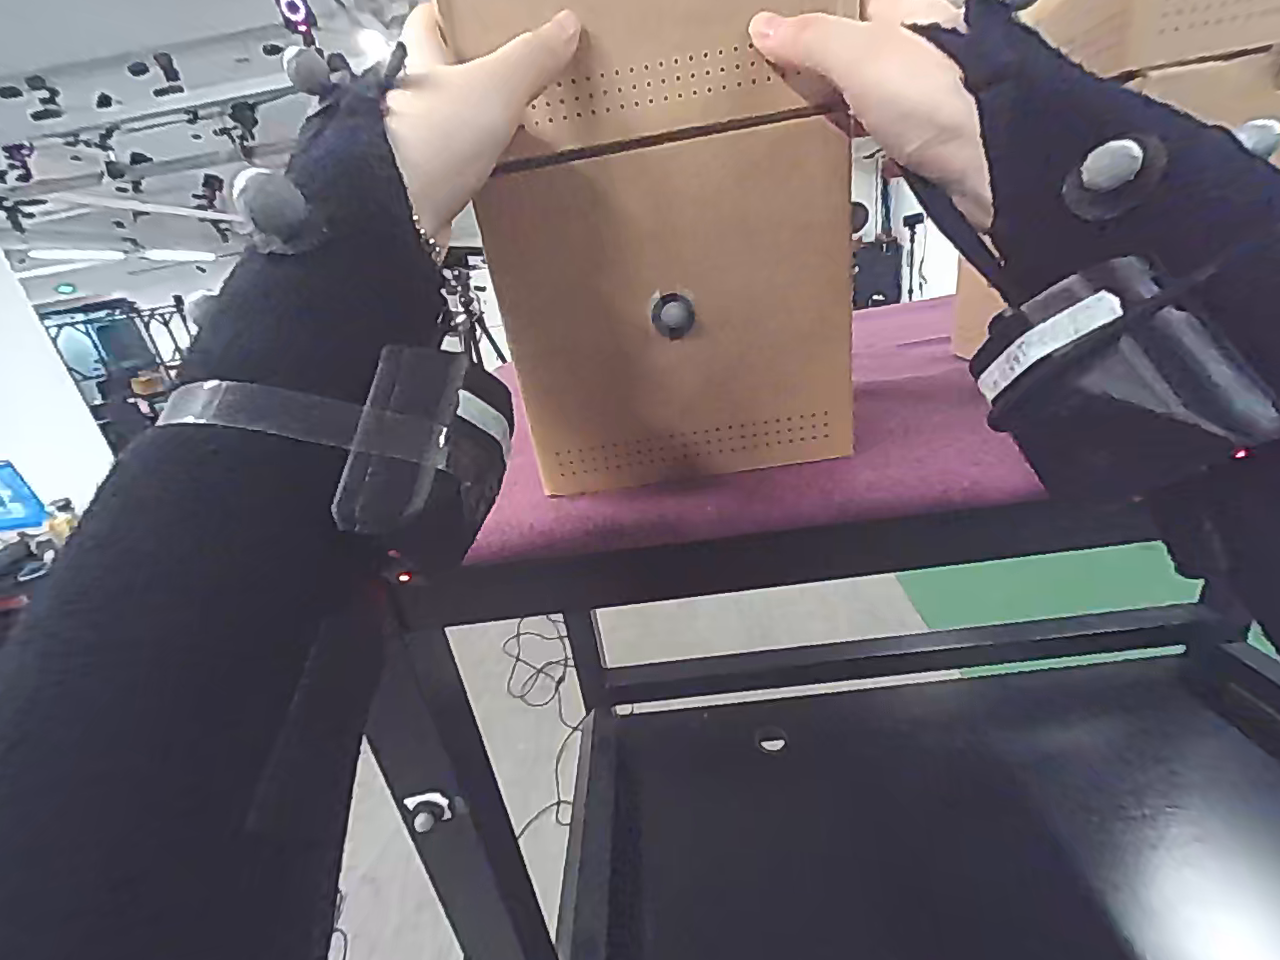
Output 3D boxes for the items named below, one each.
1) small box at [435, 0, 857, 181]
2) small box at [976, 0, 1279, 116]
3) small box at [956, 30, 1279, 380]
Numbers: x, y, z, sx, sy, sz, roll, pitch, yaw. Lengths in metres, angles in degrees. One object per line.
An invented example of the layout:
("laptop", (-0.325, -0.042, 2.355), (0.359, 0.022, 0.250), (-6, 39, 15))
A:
("small box", (-0.005, -0.260, 0.273), (0.179, 0.176, 0.168), (-9, 24, 3))
("small box", (0.311, -0.317, 0.294), (0.179, 0.176, 0.168), (-6, 22, 5))
("small box", (0.335, -0.165, 0.354), (0.168, 0.176, 0.179), (-6, 21, 5))
